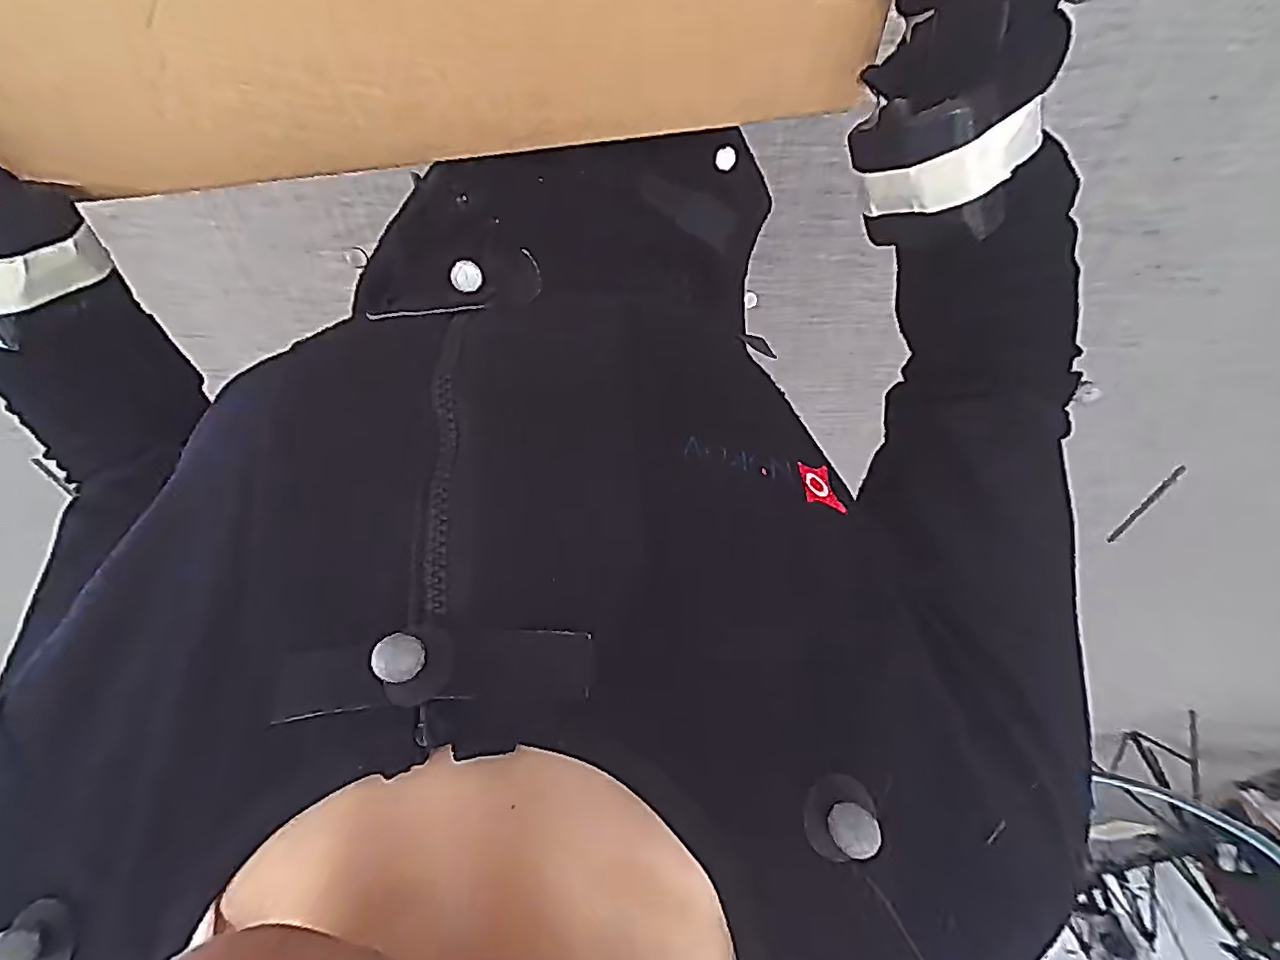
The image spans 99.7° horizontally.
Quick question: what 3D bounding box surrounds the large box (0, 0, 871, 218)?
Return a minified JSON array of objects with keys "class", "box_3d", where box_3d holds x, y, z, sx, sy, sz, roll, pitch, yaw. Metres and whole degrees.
[{"class":"large box","box_3d":[-0.116,-0.362,0.210,0.408,0.320,0.320,-7,154,0]}]
